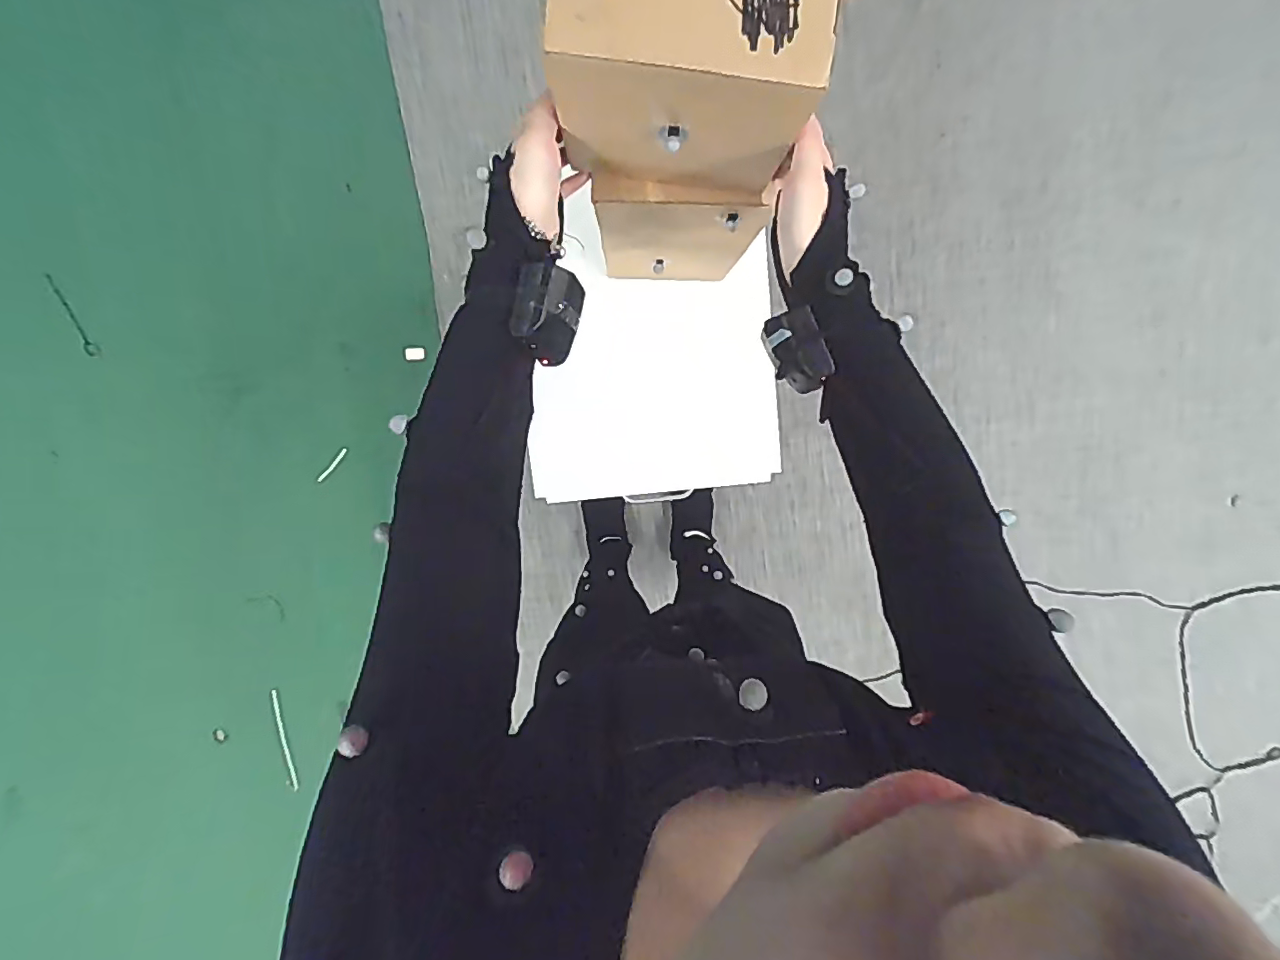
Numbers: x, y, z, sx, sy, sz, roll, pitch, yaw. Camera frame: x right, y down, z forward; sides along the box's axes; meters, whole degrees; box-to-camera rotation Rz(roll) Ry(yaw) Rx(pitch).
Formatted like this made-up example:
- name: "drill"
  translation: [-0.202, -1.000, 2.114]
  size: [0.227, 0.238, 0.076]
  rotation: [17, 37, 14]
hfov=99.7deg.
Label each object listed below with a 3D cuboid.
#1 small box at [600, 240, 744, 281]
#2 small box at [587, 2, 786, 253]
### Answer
- name: "small box"
  translation: [0.041, -0.369, 0.722]
  size: [0.179, 0.176, 0.168]
  rotation: [1, 98, -1]
- name: "small box"
  translation: [0.039, -0.343, 0.561]
  size: [0.179, 0.176, 0.168]
  rotation: [0, 98, -2]
